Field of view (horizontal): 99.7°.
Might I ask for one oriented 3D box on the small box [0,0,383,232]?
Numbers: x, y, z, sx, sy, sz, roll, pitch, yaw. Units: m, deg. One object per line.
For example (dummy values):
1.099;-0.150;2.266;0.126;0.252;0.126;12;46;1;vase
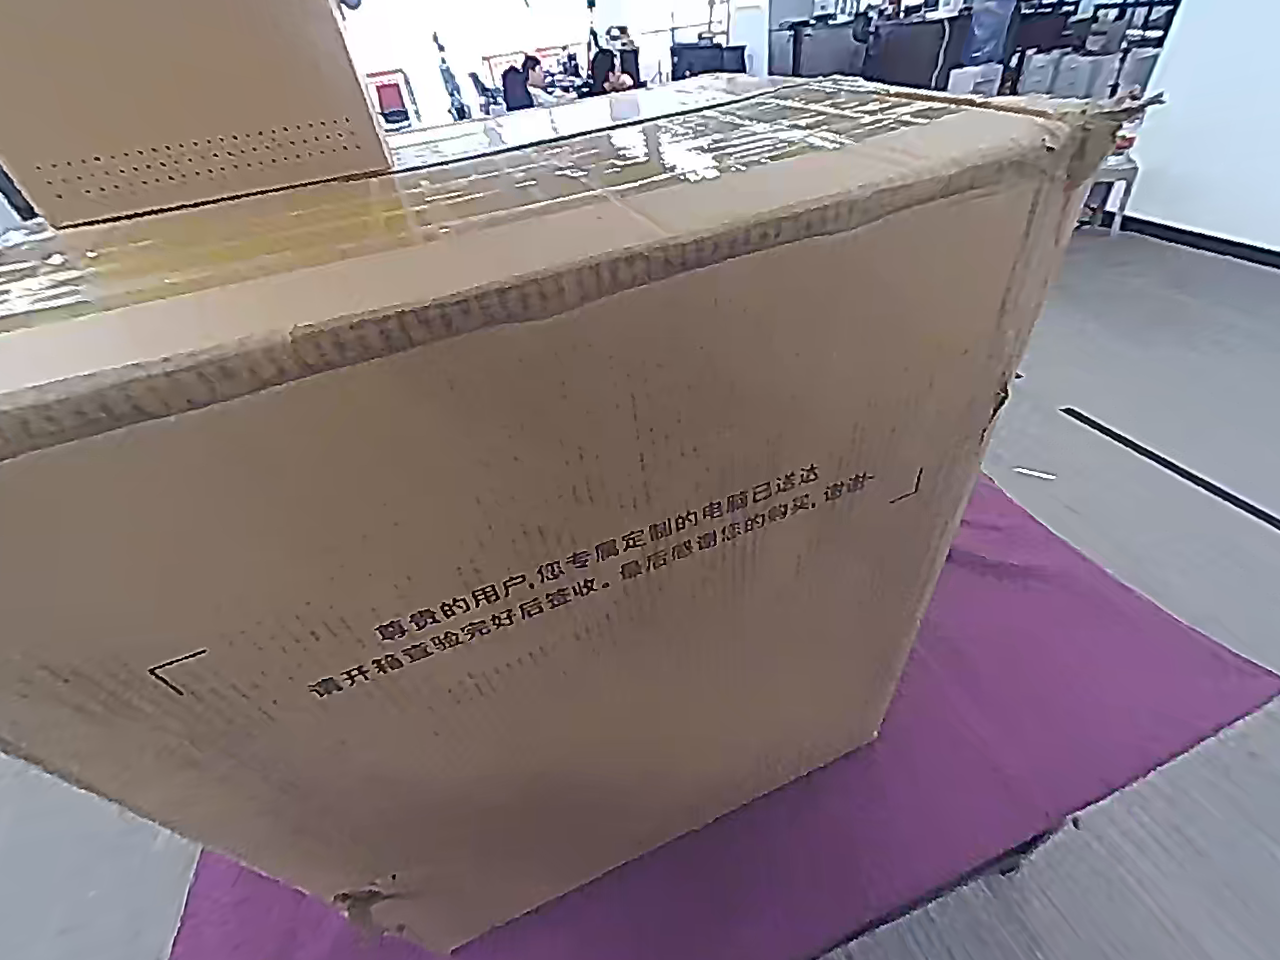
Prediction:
-0.262;-0.260;0.306;0.179;0.176;0.168;-19;41;-13;small box
